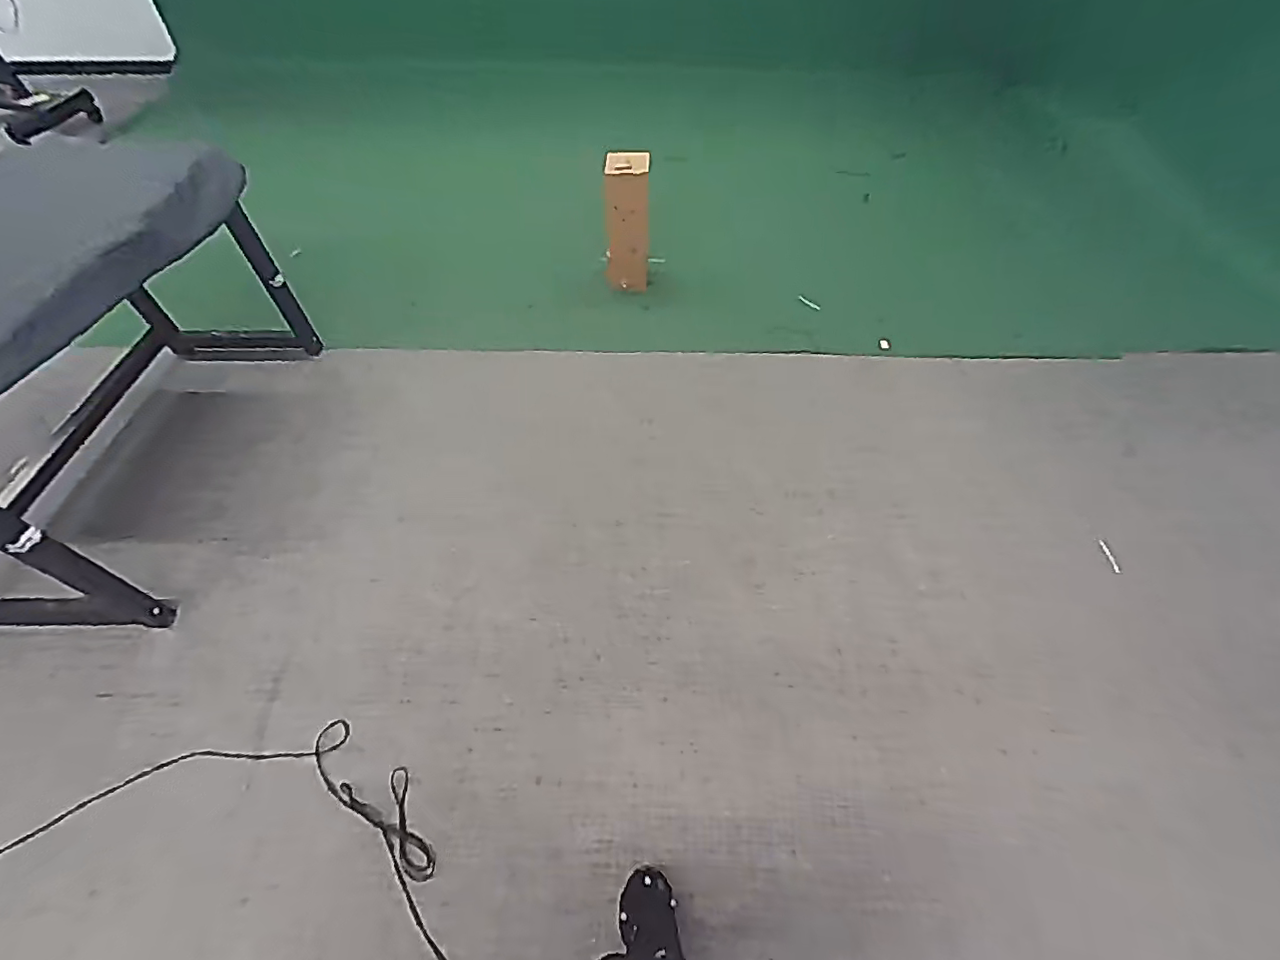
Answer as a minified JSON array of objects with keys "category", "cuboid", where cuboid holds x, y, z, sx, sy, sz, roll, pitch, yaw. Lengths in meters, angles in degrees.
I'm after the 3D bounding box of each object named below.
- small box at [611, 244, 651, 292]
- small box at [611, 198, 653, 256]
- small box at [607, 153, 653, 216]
[{"category":"small box","cuboid":[-0.038,-0.952,2.376,0.168,0.176,0.179,1,54,2]},{"category":"small box","cuboid":[-0.031,-1.055,2.248,0.168,0.176,0.179,1,52,2]},{"category":"small box","cuboid":[-0.036,-1.153,2.116,0.168,0.176,0.179,1,52,2]}]
